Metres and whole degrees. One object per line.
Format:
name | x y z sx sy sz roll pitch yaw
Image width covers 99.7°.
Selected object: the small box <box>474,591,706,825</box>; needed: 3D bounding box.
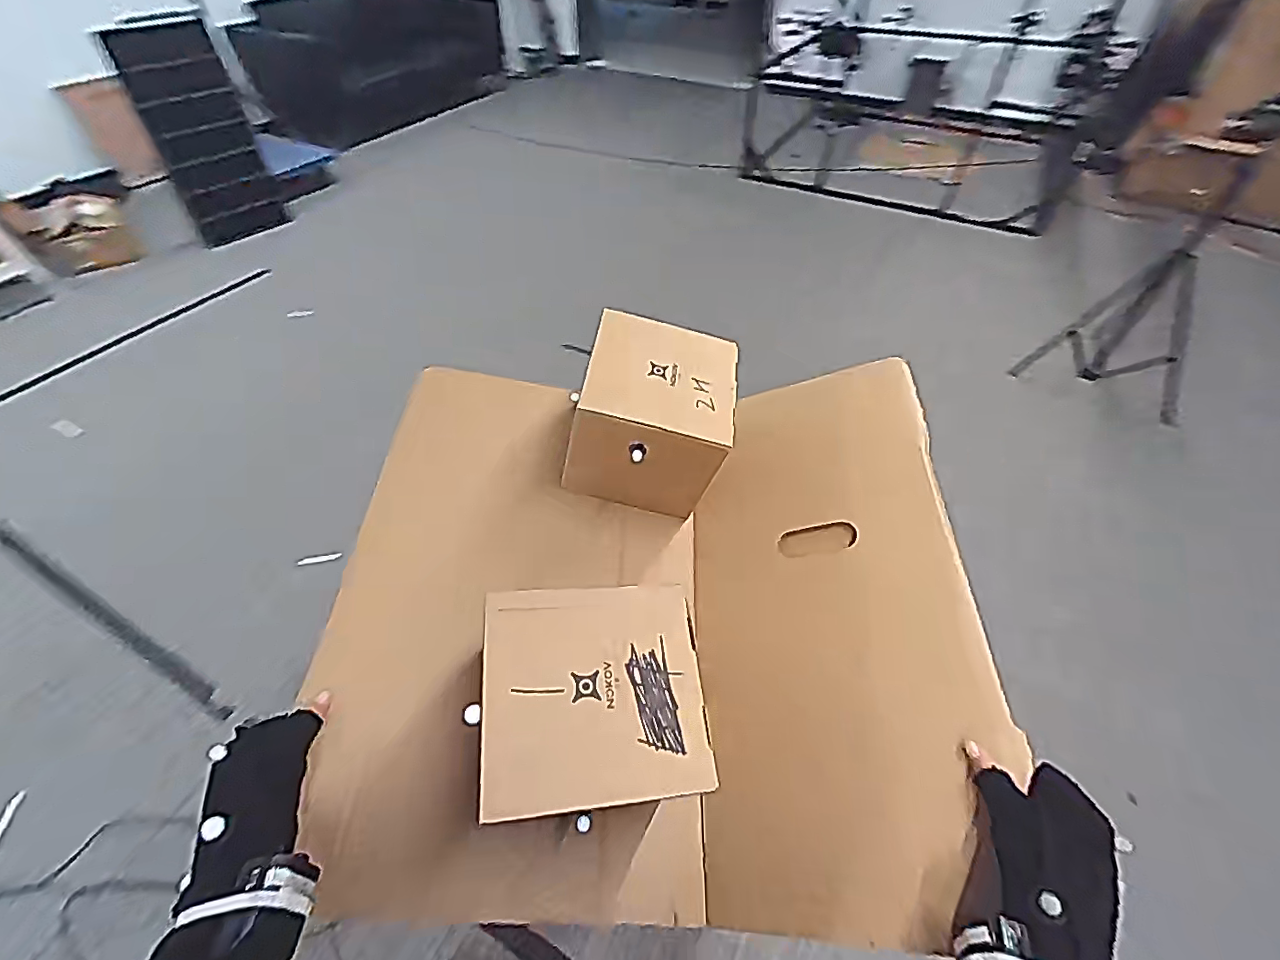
small box | -0.059 0.211 0.502 0.179 0.176 0.168 0 58 -15
